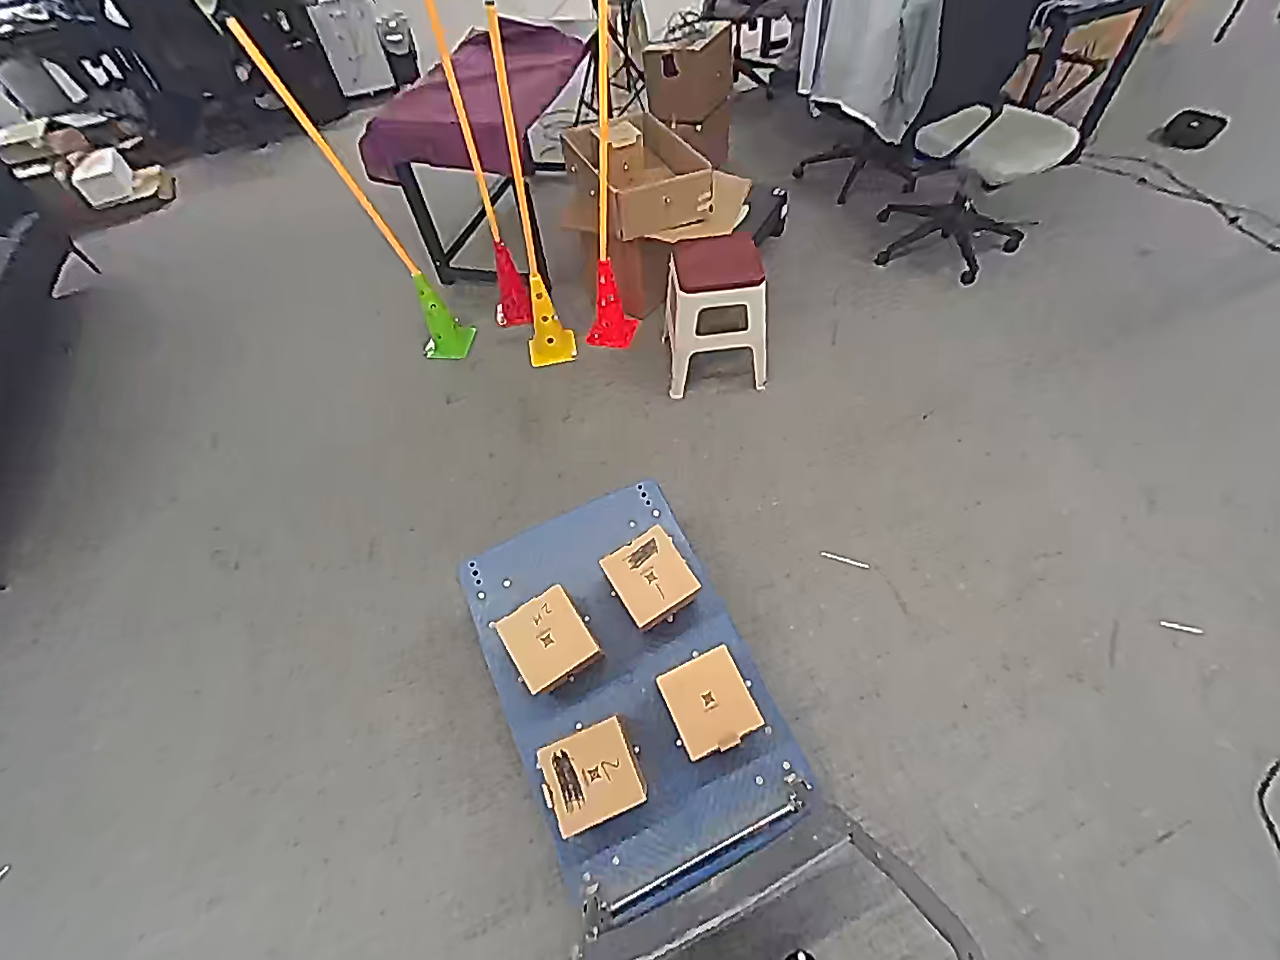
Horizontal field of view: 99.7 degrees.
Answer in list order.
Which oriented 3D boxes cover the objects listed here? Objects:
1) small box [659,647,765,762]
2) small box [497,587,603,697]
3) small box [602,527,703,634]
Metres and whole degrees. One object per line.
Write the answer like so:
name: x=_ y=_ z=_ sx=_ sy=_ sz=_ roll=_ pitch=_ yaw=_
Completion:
small box: x=0.146 y=0.486 z=1.181 sx=0.168 sy=0.176 sz=0.179 roll=-24 pitch=71 yaw=-8
small box: x=-0.196 y=0.370 z=1.231 sx=0.168 sy=0.176 sz=0.179 roll=-31 pitch=72 yaw=-11
small box: x=0.027 y=0.243 z=1.276 sx=0.168 sy=0.176 sz=0.179 roll=-31 pitch=72 yaw=-10
